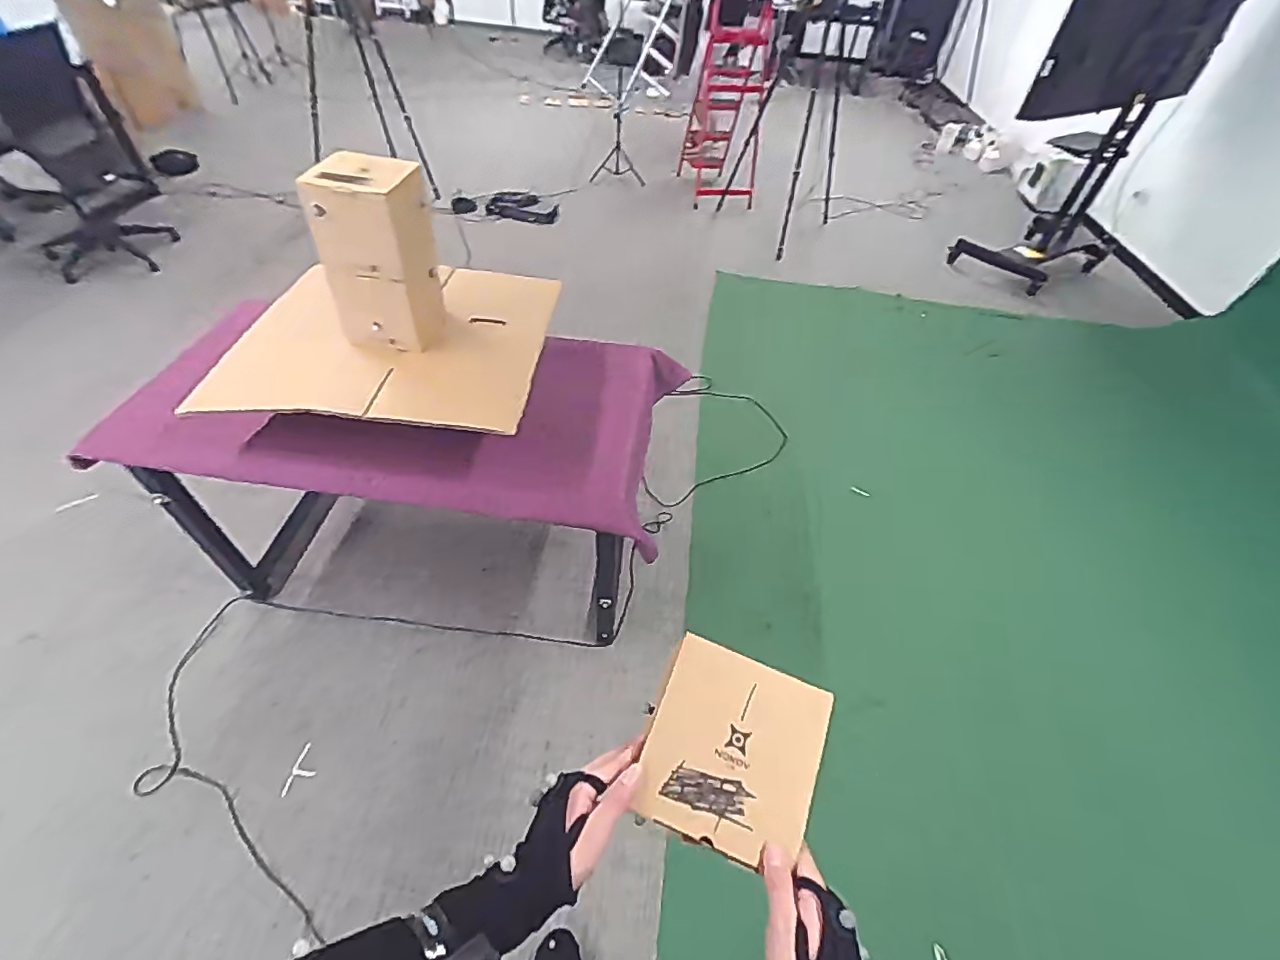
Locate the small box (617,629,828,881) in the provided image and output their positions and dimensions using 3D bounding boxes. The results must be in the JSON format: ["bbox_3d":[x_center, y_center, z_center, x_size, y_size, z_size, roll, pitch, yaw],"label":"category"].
[{"bbox_3d":[0.081,0.294,0.595,0.168,0.176,0.179,22,62,6],"label":"small box"}]

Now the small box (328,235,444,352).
[{"bbox_3d":[-0.545,-0.409,1.191,0.168,0.176,0.179,8,48,-1],"label":"small box"}]
